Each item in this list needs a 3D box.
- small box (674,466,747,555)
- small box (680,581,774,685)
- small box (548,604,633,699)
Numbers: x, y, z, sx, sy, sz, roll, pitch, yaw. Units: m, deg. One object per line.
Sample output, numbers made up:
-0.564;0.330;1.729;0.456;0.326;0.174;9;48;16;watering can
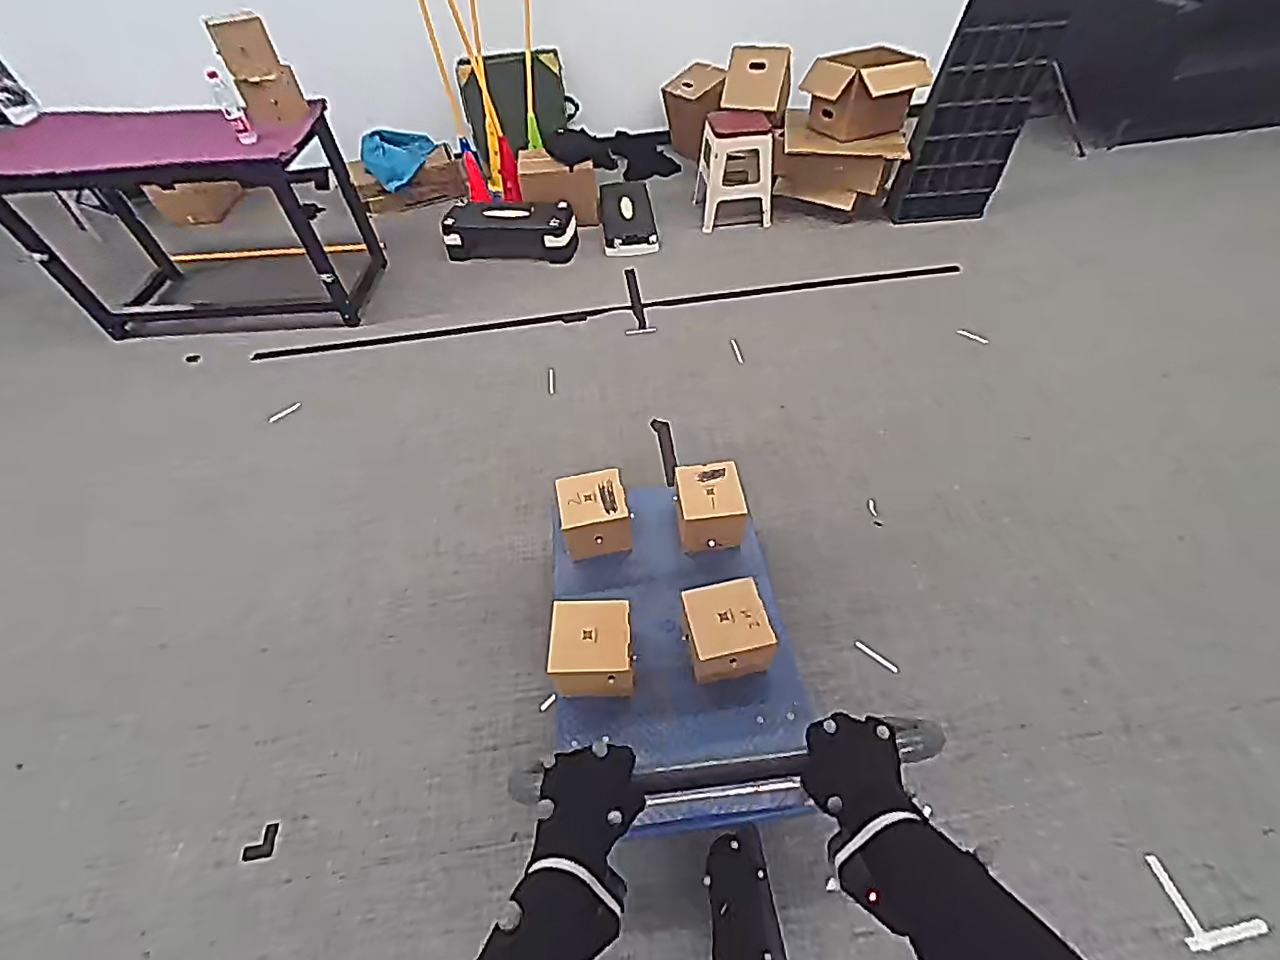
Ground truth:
0.187;0.085;1.487;0.168;0.176;0.179;-6;53;-2;small box
0.197;0.364;1.267;0.179;0.176;0.168;-11;52;-5;small box
-0.108;0.401;1.255;0.179;0.176;0.168;-1;51;0;small box
